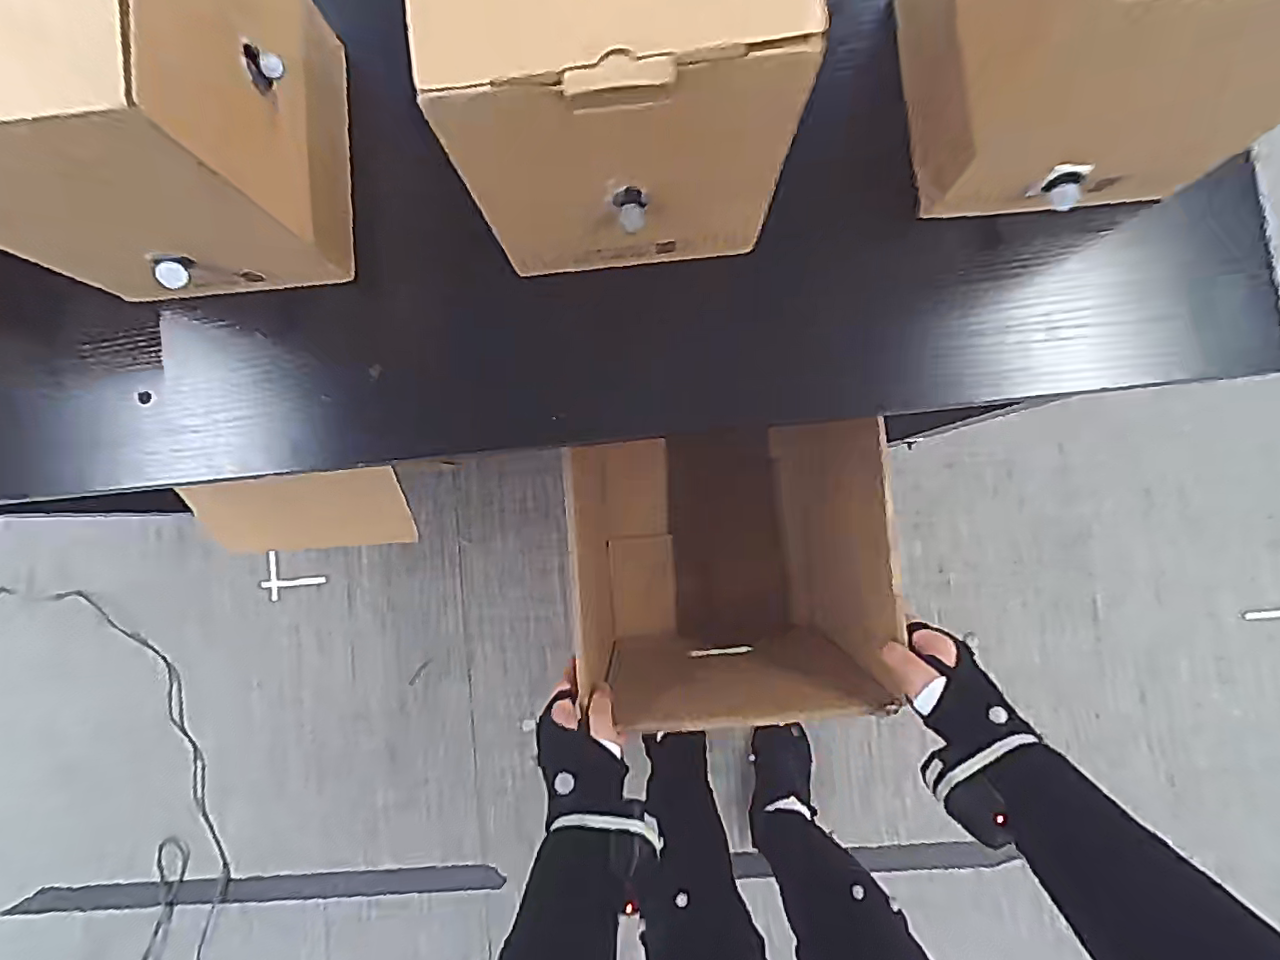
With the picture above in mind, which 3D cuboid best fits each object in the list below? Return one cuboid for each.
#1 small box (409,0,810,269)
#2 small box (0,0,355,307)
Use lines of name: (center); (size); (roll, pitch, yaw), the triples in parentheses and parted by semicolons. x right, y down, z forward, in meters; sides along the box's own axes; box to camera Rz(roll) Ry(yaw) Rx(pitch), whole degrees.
small box: (-0.014, -0.236, 0.305); (0.168, 0.176, 0.179); (-5, 87, 2)
small box: (-0.290, -0.220, 0.311); (0.168, 0.176, 0.179); (-5, 87, 2)
